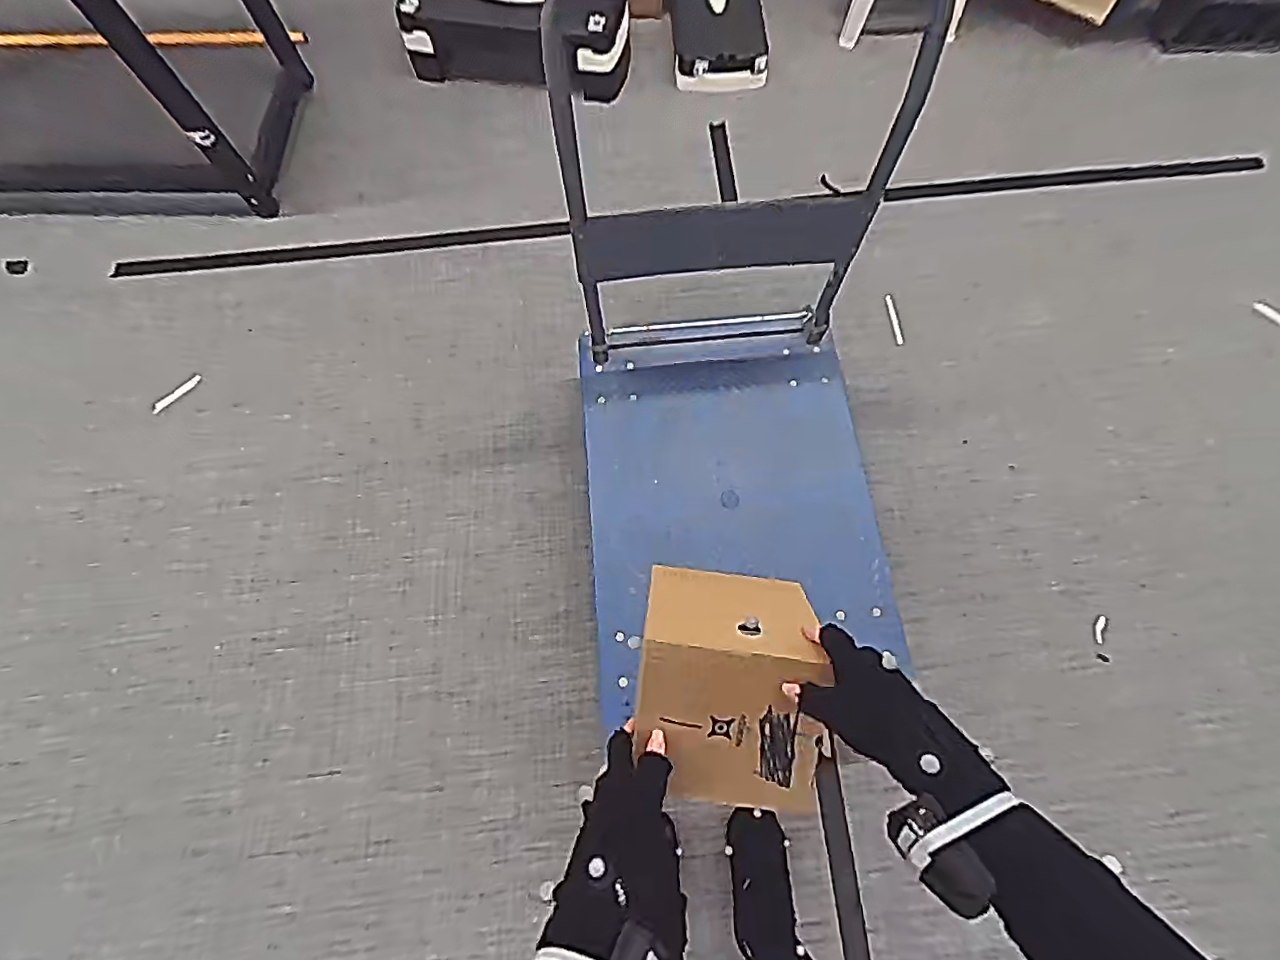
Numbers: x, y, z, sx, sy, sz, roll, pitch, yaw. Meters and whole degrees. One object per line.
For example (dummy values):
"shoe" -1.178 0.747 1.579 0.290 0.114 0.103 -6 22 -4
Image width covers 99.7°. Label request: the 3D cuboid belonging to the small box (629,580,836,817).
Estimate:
"small box" 0.087 0.221 0.585 0.179 0.176 0.168 7 104 2
